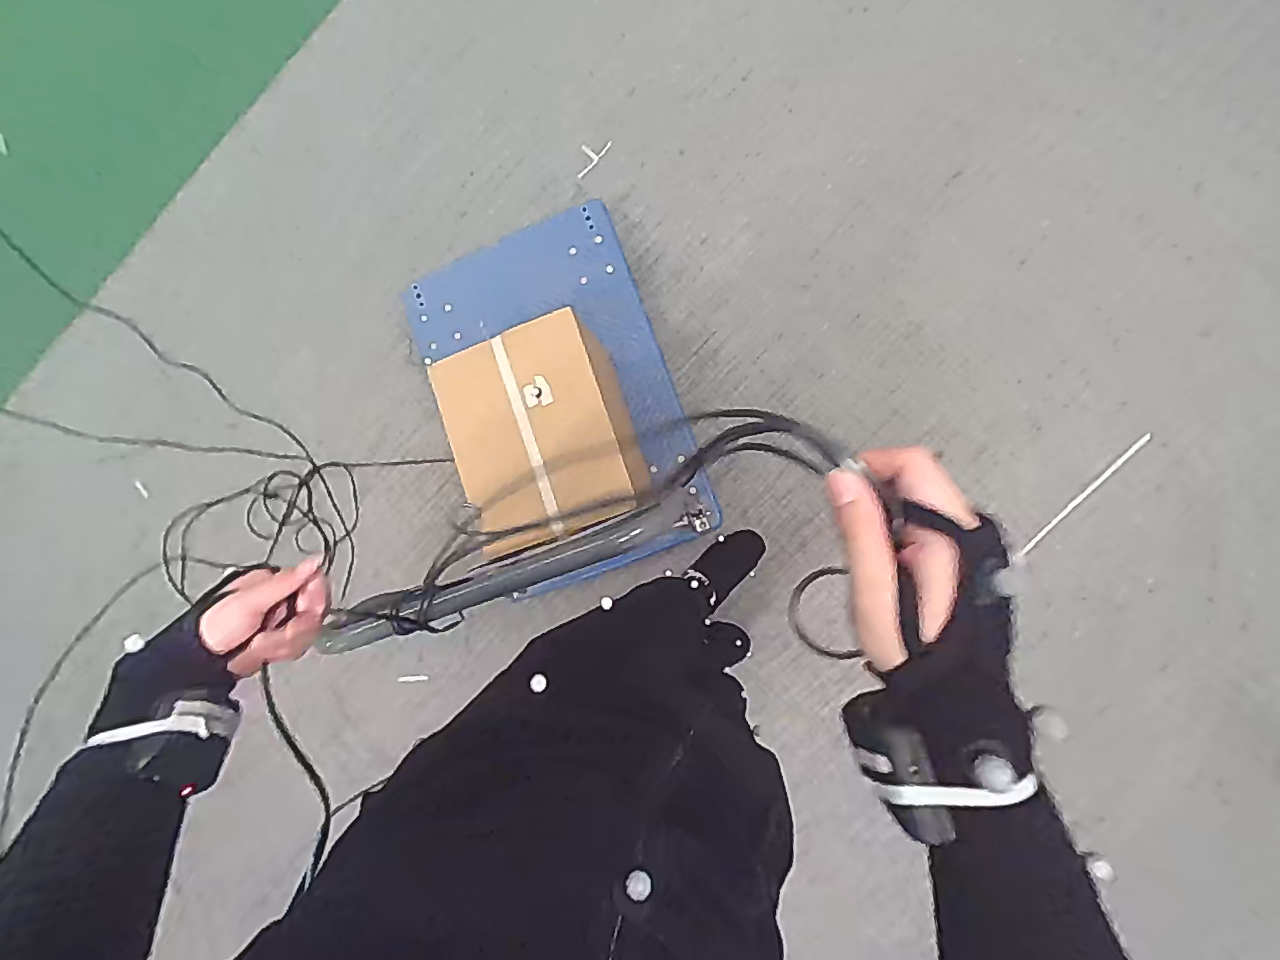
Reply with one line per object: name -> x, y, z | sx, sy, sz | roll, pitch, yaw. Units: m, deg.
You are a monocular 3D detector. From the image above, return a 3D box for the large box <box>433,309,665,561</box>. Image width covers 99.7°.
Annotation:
large box -> -0.170, -0.076, 1.152 | 0.320, 0.320, 0.408 | -20, 84, 8
